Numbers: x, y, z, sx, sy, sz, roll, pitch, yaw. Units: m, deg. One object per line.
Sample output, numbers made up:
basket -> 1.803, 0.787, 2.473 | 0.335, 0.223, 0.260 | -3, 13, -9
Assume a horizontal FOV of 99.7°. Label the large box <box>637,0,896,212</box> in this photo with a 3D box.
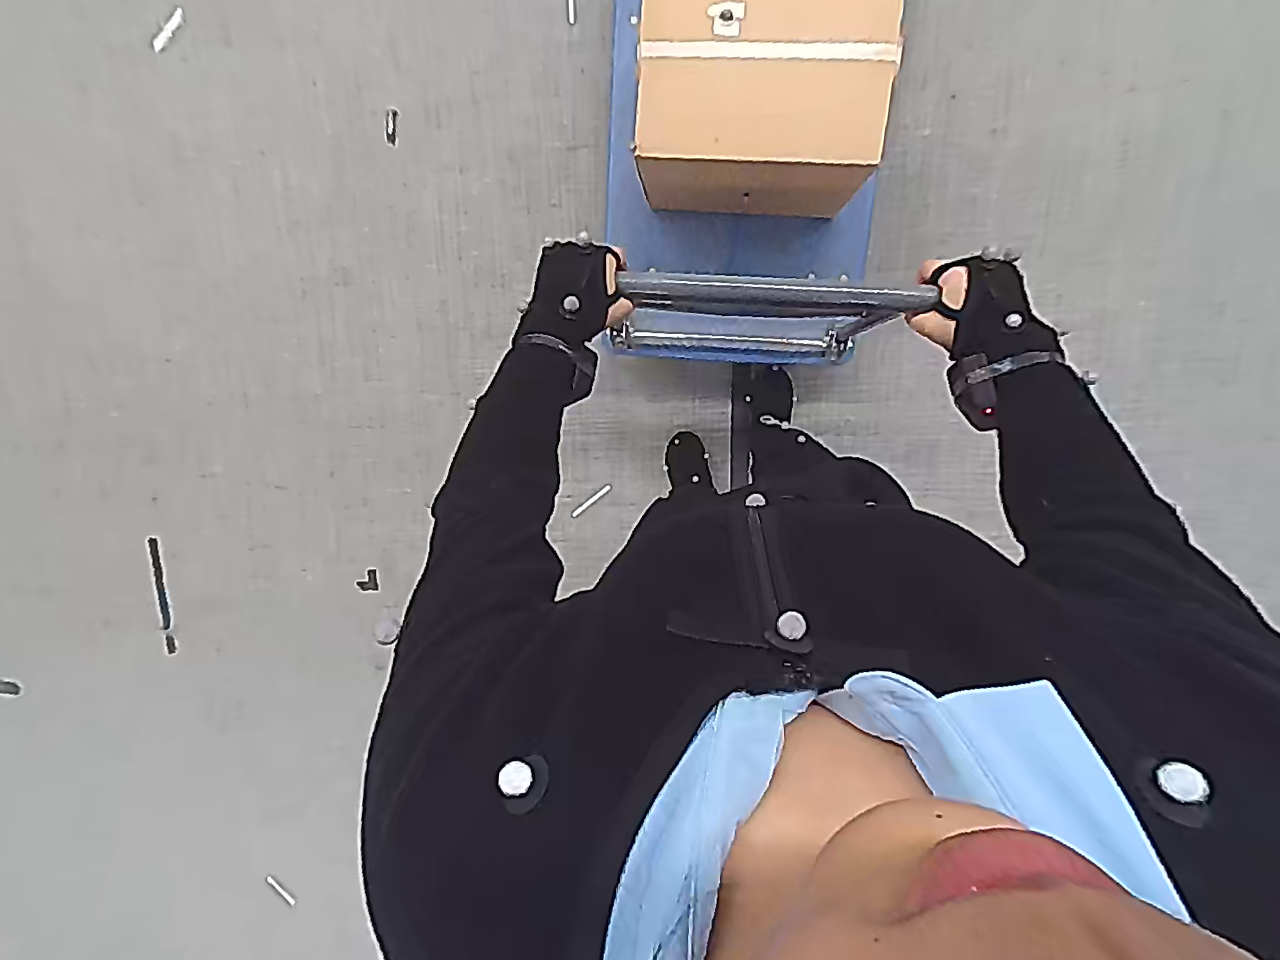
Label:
large box -> 0.219, -0.715, 1.021 | 0.408, 0.320, 0.320 | 5, 101, 6
